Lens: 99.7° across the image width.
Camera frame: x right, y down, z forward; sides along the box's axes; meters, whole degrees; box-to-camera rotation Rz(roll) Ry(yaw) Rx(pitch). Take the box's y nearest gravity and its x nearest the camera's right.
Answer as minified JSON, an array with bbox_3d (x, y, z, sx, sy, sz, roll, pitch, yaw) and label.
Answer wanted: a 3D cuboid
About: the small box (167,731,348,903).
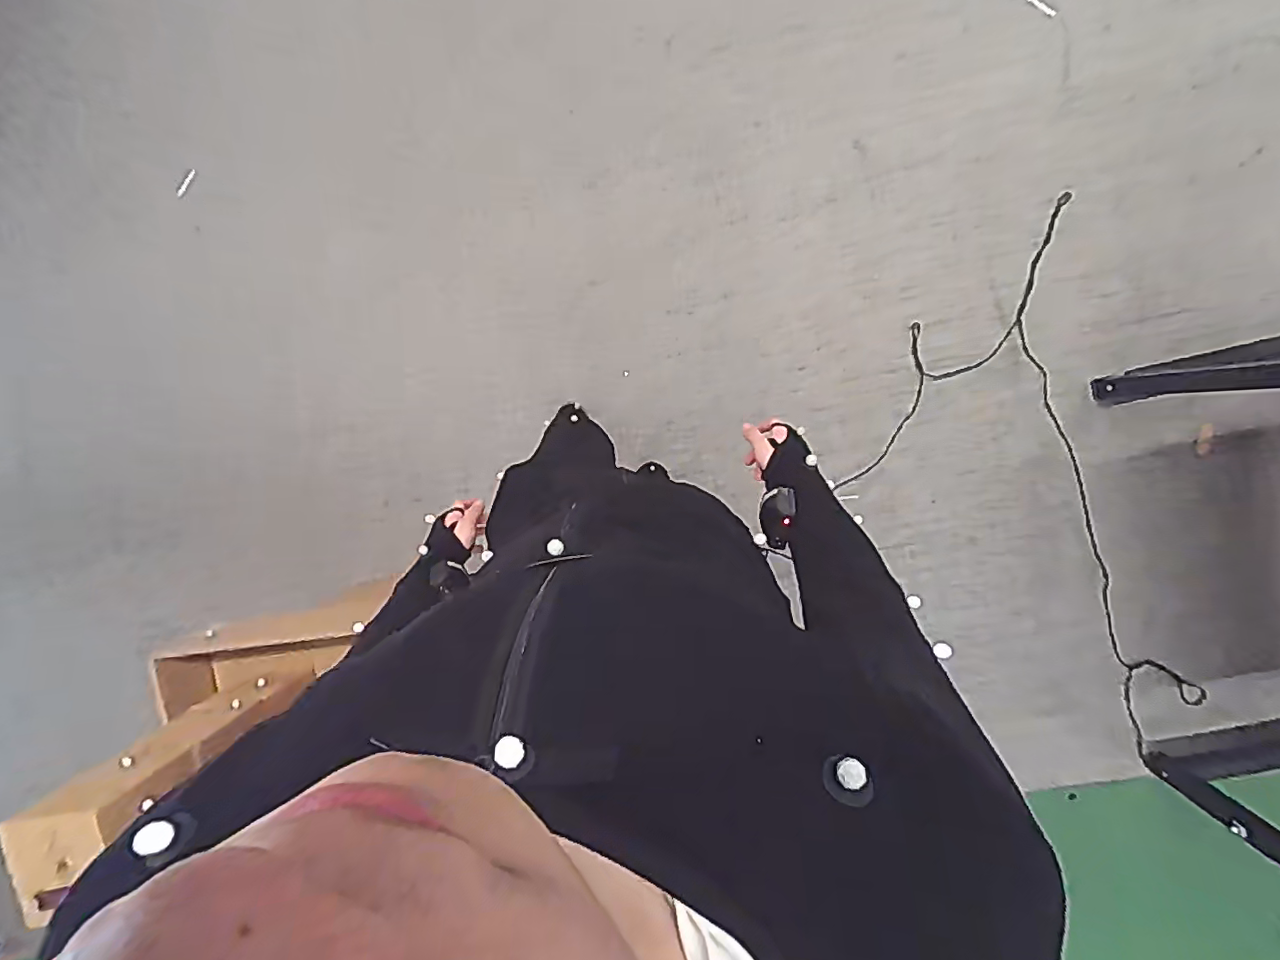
[{"bbox_3d":[-0.604,0.537,0.878,0.168,0.176,0.179,-5,96,4],"label":"small box"}]

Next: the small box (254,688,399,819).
[{"bbox_3d":[-0.592,0.517,1.040,0.168,0.176,0.179,-5,96,5],"label":"small box"}]

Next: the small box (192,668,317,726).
[{"bbox_3d":[-0.853,0.542,1.225,0.168,0.176,0.179,-8,96,4],"label":"small box"}]

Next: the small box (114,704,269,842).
[{"bbox_3d":[-0.856,0.562,1.063,0.168,0.176,0.179,-10,97,4],"label":"small box"}]

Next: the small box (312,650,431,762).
[{"bbox_3d":[-0.586,0.501,1.203,0.168,0.176,0.179,-6,97,5],"label":"small box"}]
